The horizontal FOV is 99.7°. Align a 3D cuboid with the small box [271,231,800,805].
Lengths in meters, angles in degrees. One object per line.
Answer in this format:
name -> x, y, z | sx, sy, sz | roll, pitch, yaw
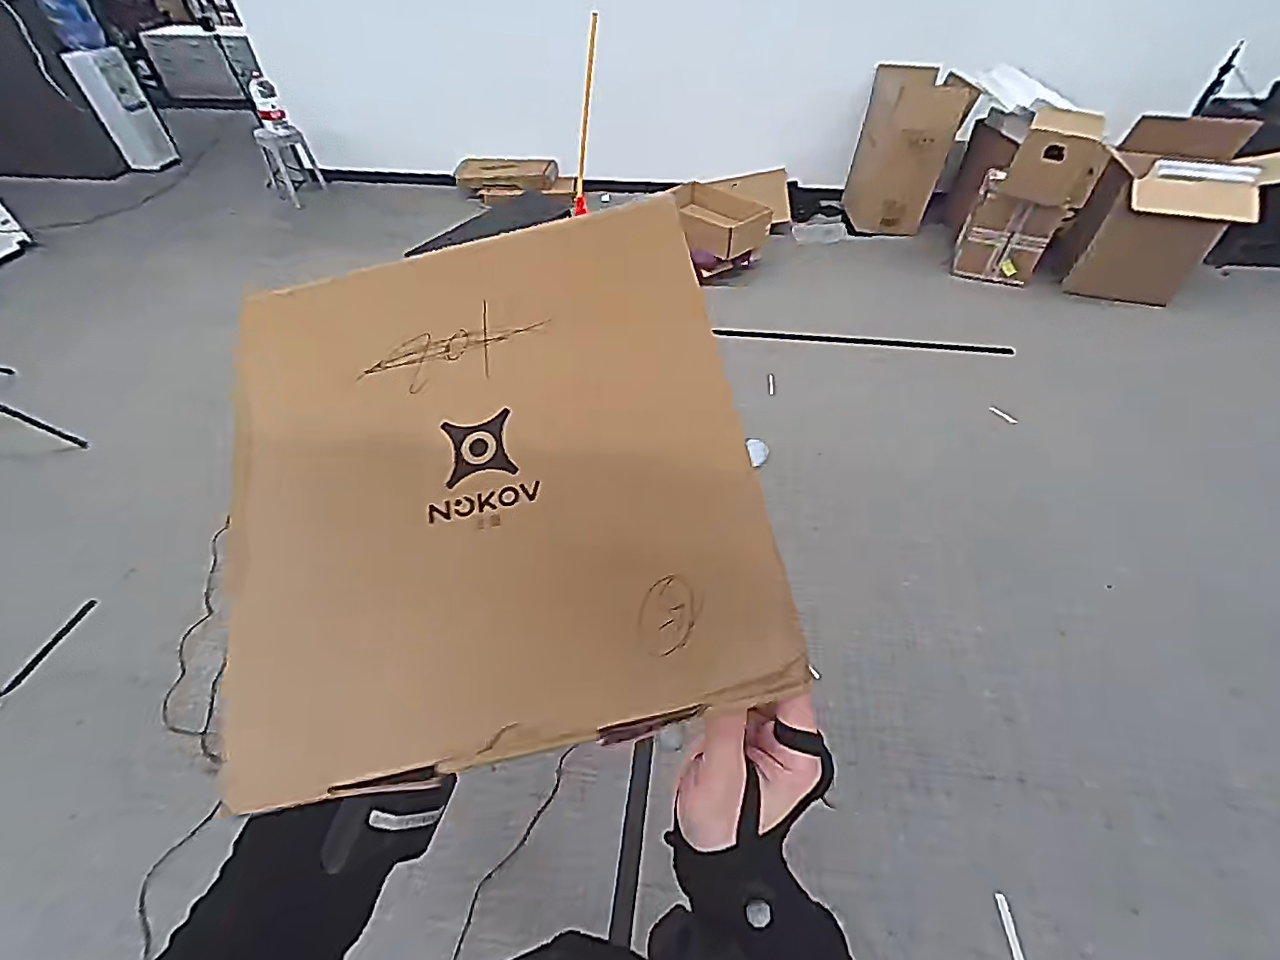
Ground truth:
small box -> -0.040, 0.025, 0.263 | 0.168, 0.176, 0.179 | -14, 70, 0
